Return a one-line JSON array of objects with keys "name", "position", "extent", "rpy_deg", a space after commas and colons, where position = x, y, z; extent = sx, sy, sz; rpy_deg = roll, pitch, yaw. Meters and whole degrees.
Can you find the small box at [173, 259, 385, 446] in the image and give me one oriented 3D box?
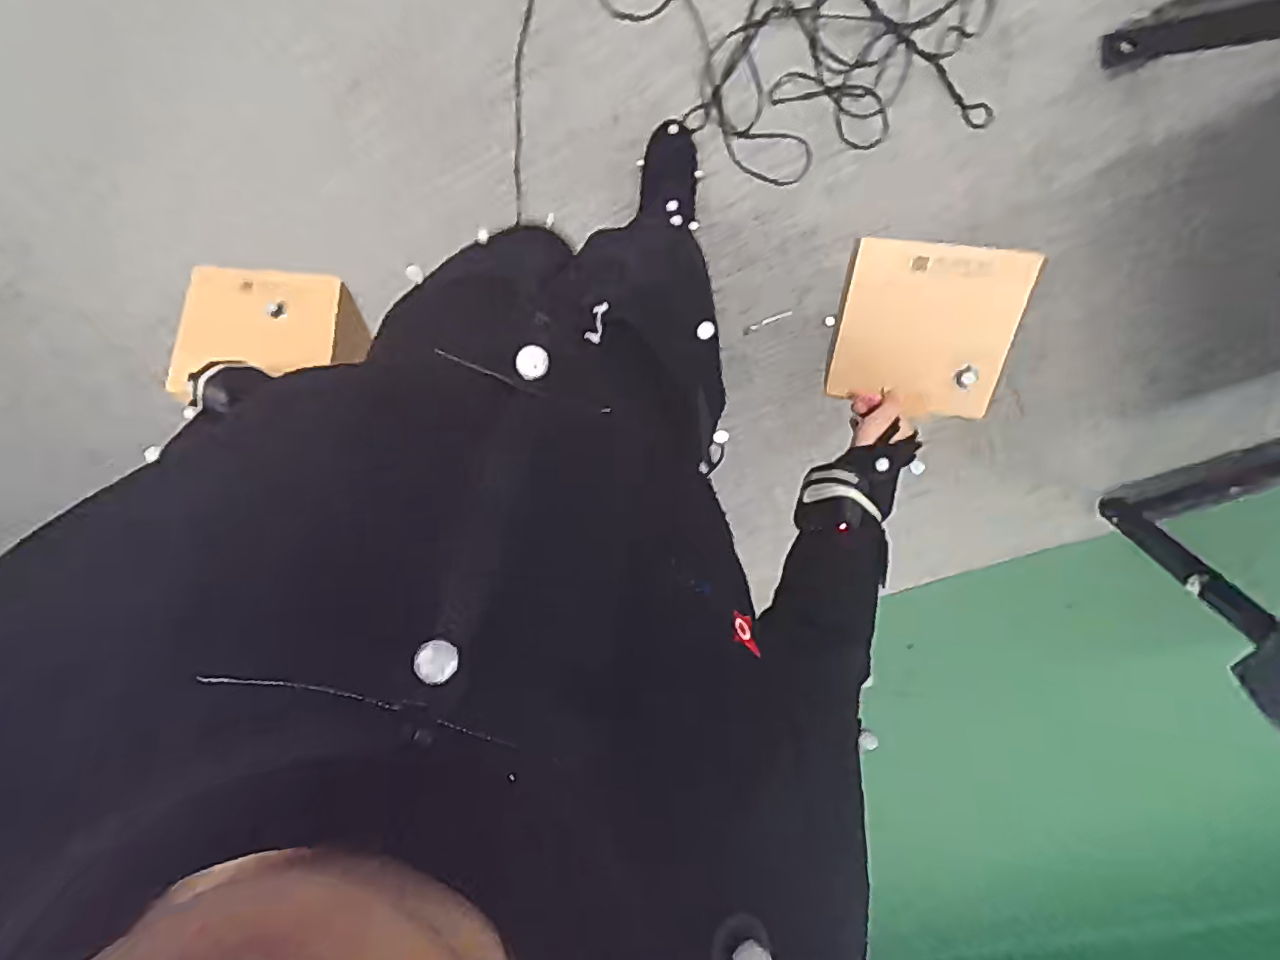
[{"name": "small box", "position": [-0.448, -0.156, 0.708], "extent": [0.168, 0.176, 0.179], "rpy_deg": [2, 163, -10]}]
